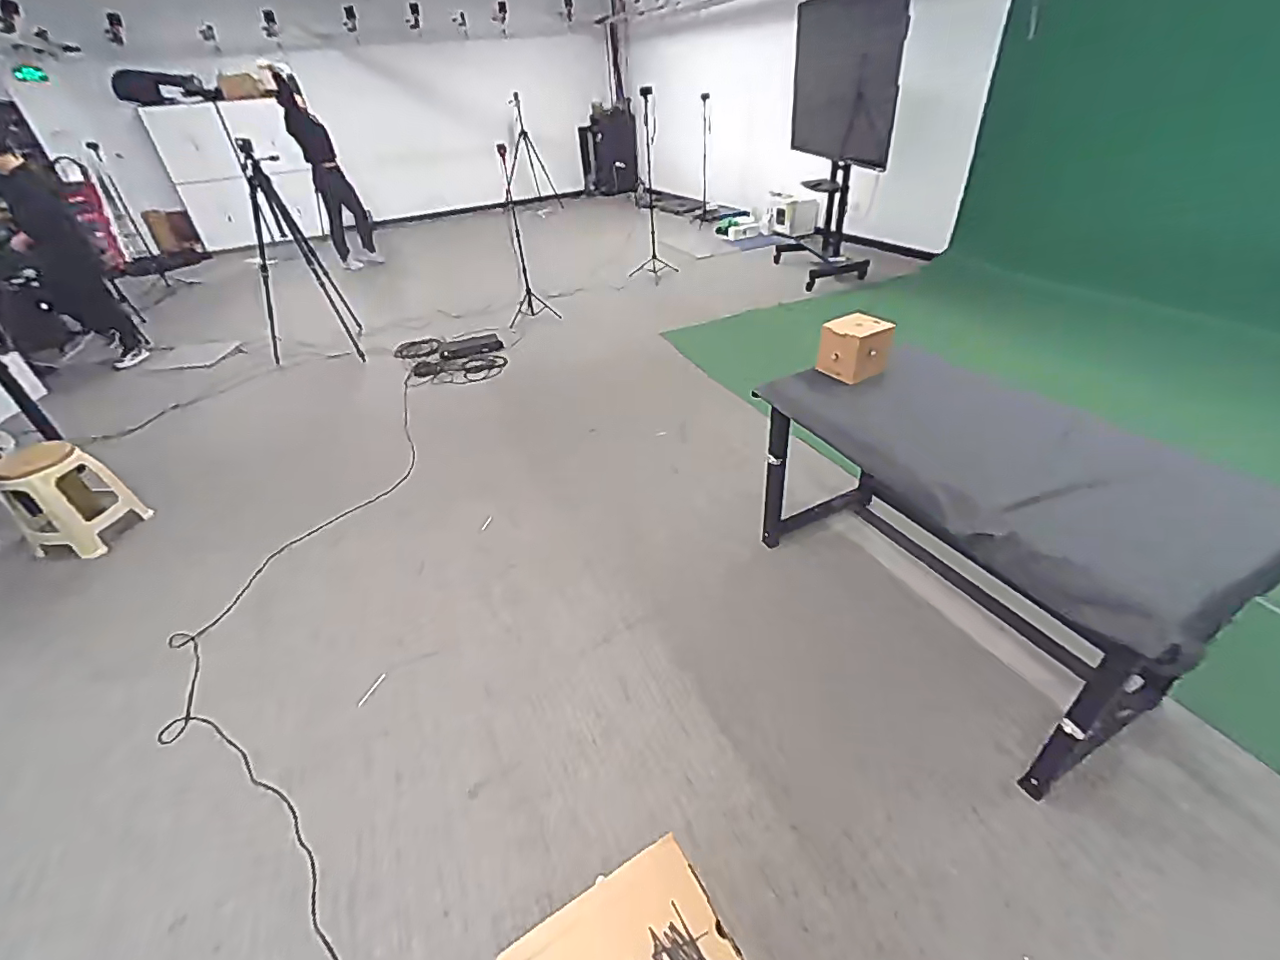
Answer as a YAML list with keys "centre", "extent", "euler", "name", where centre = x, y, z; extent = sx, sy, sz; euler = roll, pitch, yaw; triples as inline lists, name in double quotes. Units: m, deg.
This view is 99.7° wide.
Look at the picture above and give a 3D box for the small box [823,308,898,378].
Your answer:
- centre: [0.746, -0.466, 1.849]
  extent: [0.179, 0.176, 0.168]
  euler: [-23, 40, -21]
  name: "small box"
